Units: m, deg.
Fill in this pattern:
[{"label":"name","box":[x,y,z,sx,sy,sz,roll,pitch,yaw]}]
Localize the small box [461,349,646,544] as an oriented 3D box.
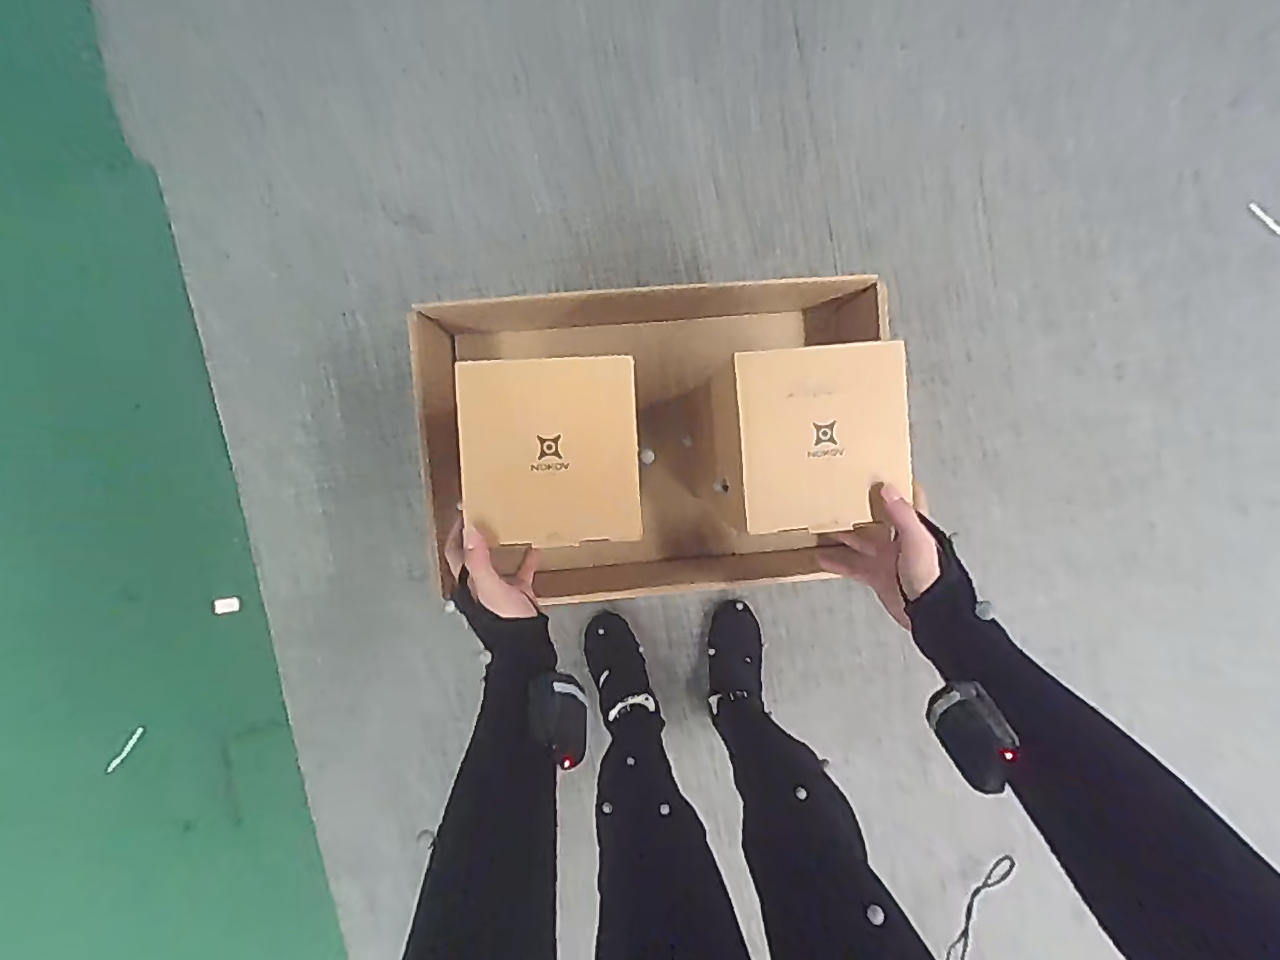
[{"label":"small box","box":[-0.083,-0.034,0.574,0.168,0.176,0.179,-3,94,-3]}]
